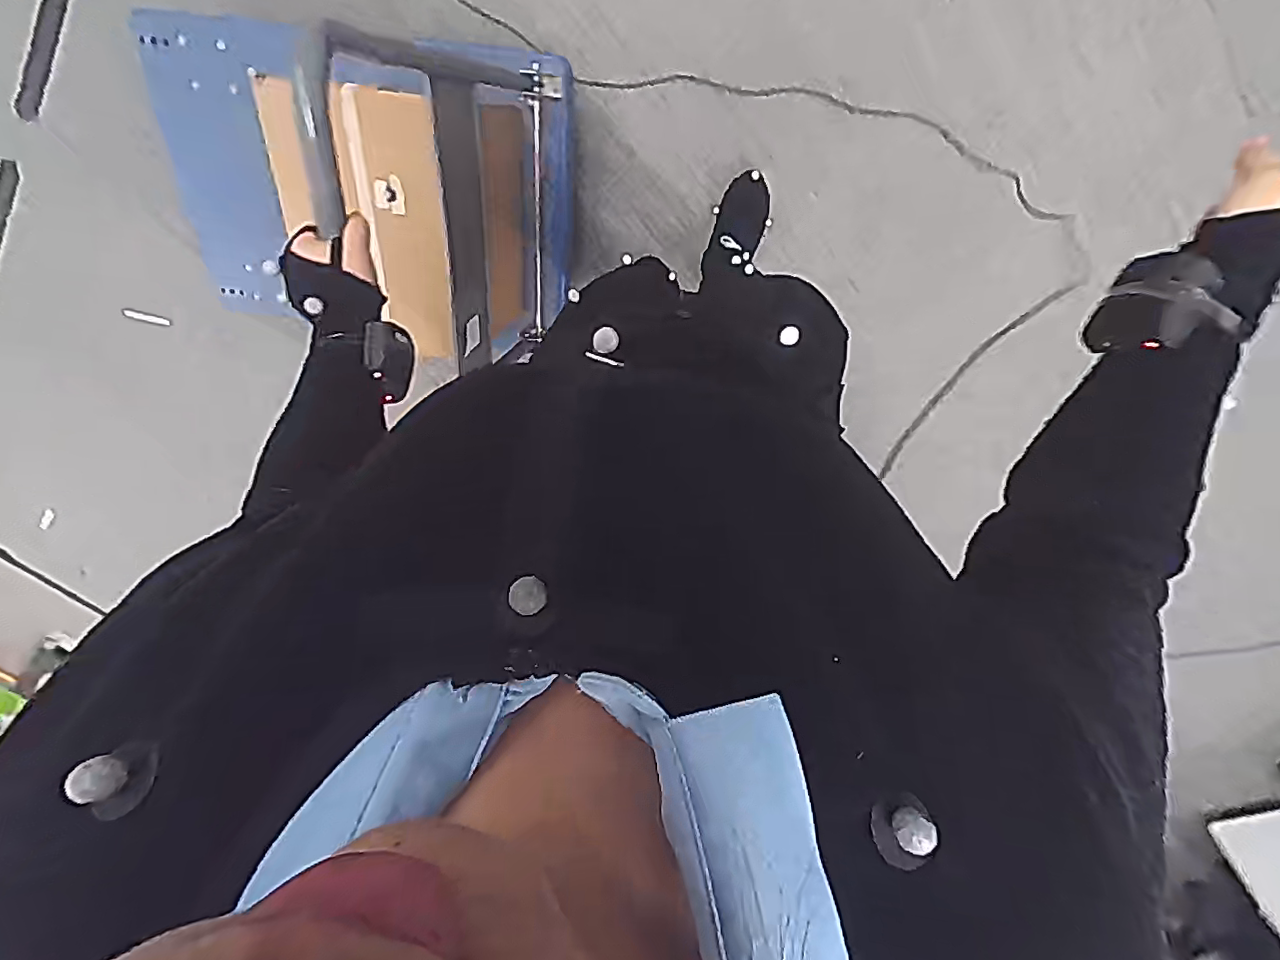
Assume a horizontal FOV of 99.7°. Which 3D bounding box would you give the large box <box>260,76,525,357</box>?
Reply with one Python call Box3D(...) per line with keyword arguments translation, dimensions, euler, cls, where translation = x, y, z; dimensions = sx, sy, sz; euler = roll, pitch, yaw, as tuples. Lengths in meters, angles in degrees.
Box3D(translation=(-0.416, -0.489, 1.026), dimensions=(0.320, 0.320, 0.408), euler=(9, 123, 3), cls="large box")
